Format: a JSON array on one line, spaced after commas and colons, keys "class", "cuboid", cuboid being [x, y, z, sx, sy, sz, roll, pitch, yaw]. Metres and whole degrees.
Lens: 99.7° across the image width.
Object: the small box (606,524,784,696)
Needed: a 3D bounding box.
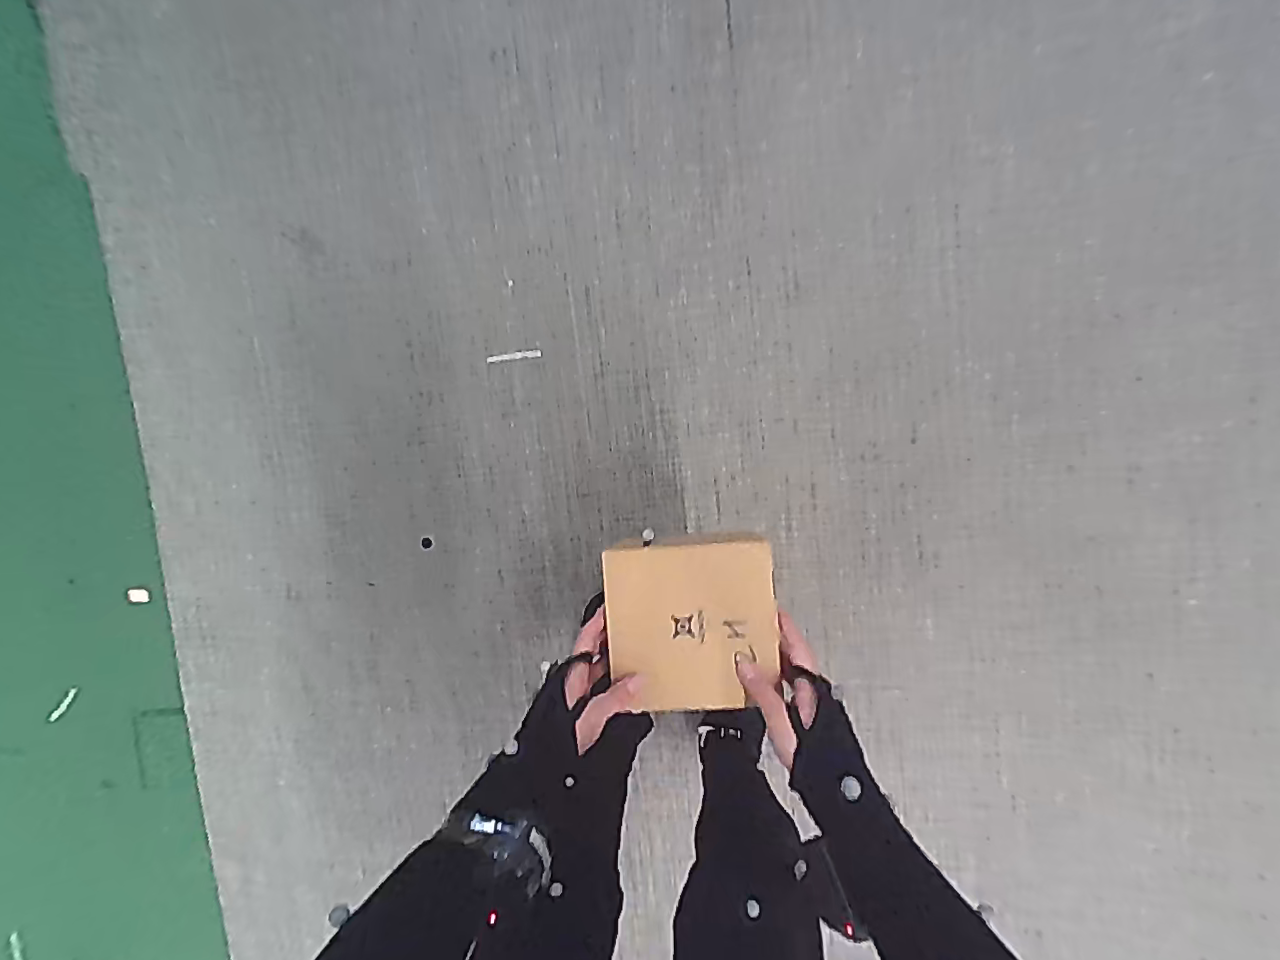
[{"class": "small box", "cuboid": [0.063, 0.140, 0.630, 0.179, 0.176, 0.168, -4, 88, 5]}]
